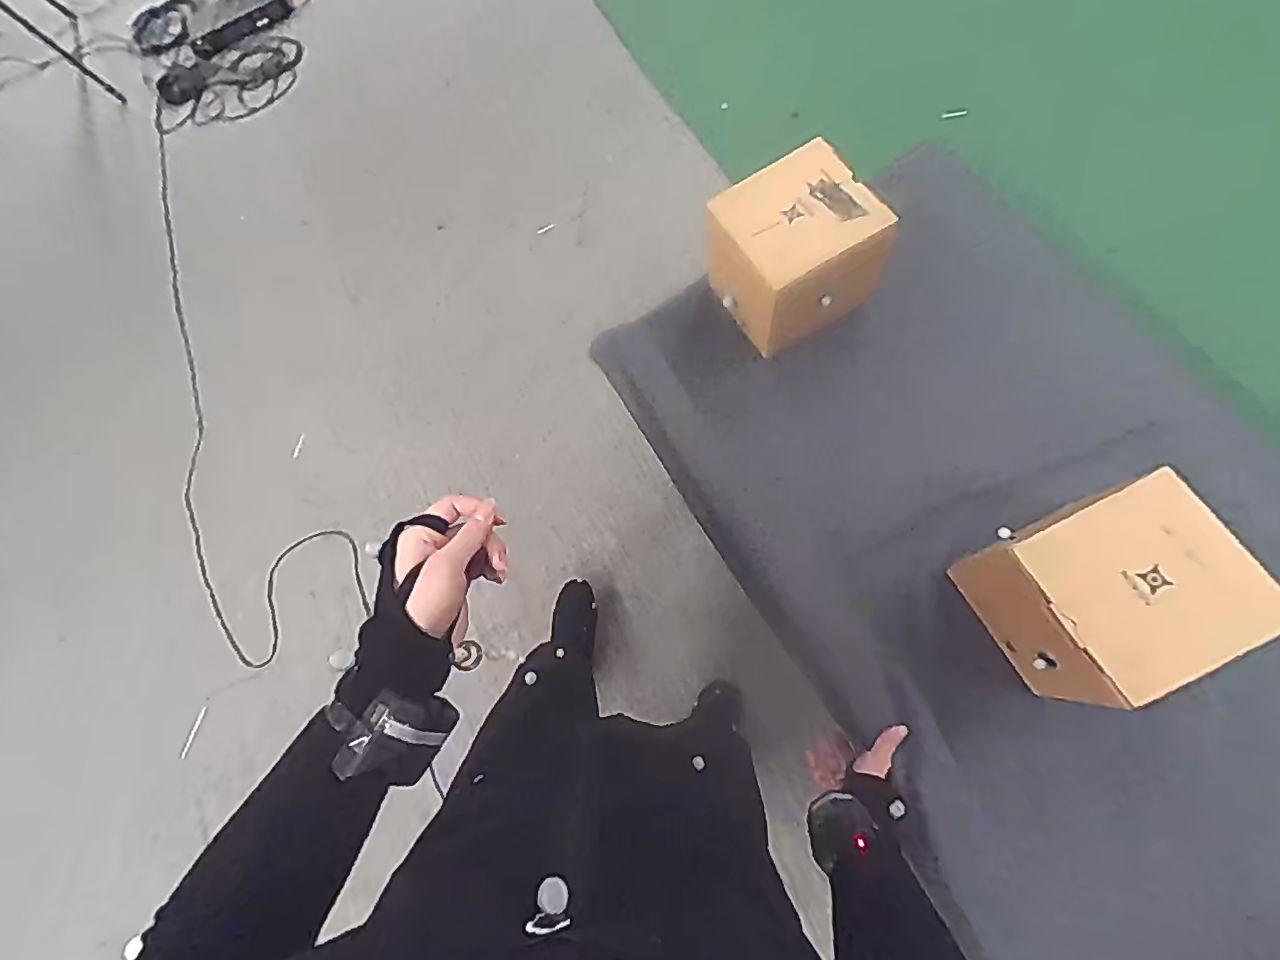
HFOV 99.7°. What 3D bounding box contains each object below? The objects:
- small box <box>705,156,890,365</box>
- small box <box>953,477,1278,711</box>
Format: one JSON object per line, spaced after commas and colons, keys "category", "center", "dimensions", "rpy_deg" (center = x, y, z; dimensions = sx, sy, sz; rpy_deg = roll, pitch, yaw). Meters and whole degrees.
{"category": "small box", "center": [0.206, -0.296, 0.759], "dimensions": [0.179, 0.176, 0.168], "rpy_deg": [-30, 71, -1]}
{"category": "small box", "center": [0.480, 0.126, 0.589], "dimensions": [0.179, 0.176, 0.168], "rpy_deg": [-29, 72, -1]}
